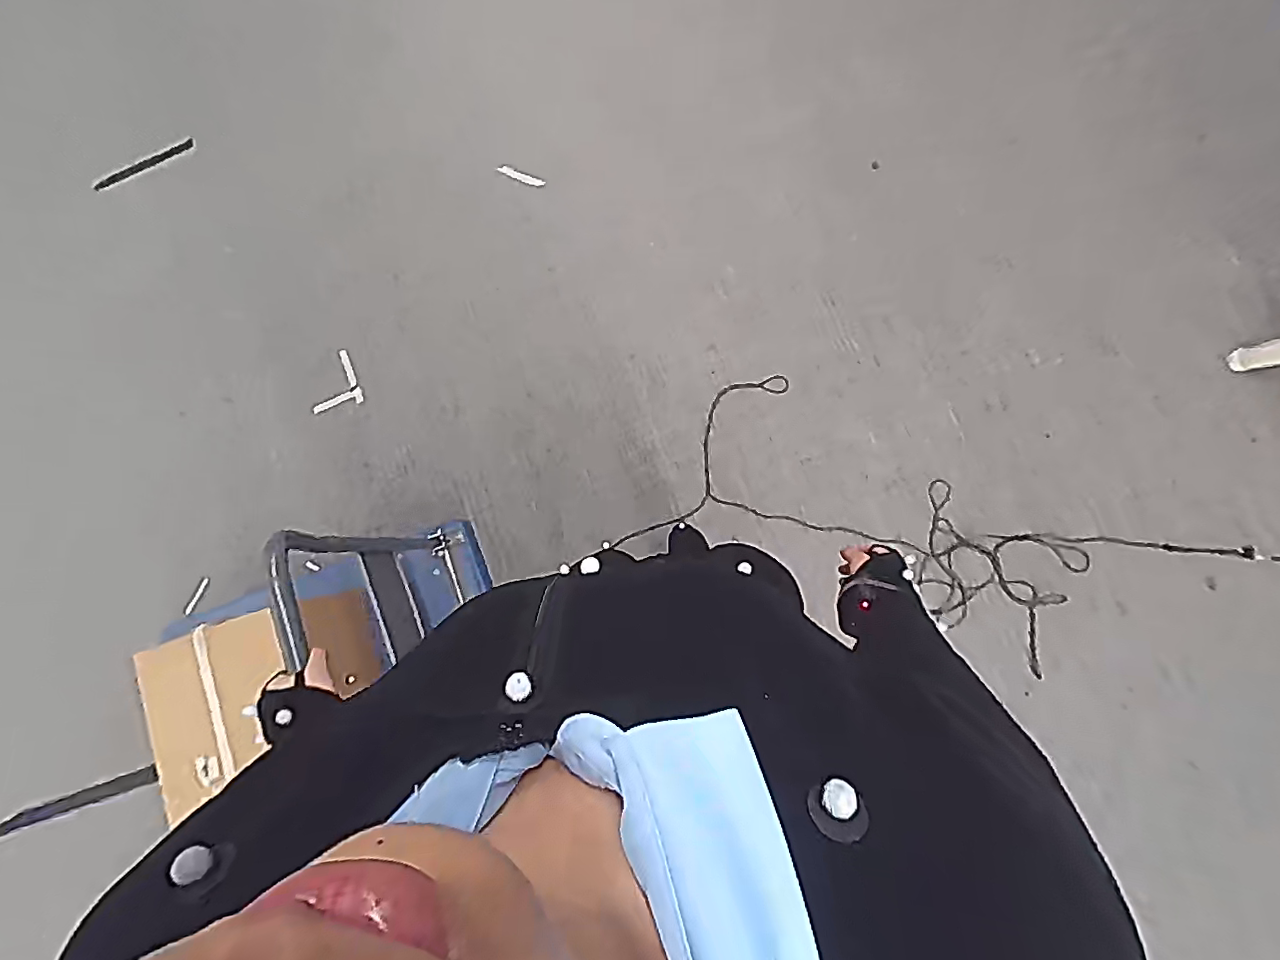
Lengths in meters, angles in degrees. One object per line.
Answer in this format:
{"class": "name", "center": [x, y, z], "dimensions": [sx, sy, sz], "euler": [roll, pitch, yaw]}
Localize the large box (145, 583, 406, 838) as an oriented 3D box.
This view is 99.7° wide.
{"class": "large box", "center": [-0.796, 0.485, 1.227], "dimensions": [0.320, 0.320, 0.408], "euler": [-19, 84, 4]}
